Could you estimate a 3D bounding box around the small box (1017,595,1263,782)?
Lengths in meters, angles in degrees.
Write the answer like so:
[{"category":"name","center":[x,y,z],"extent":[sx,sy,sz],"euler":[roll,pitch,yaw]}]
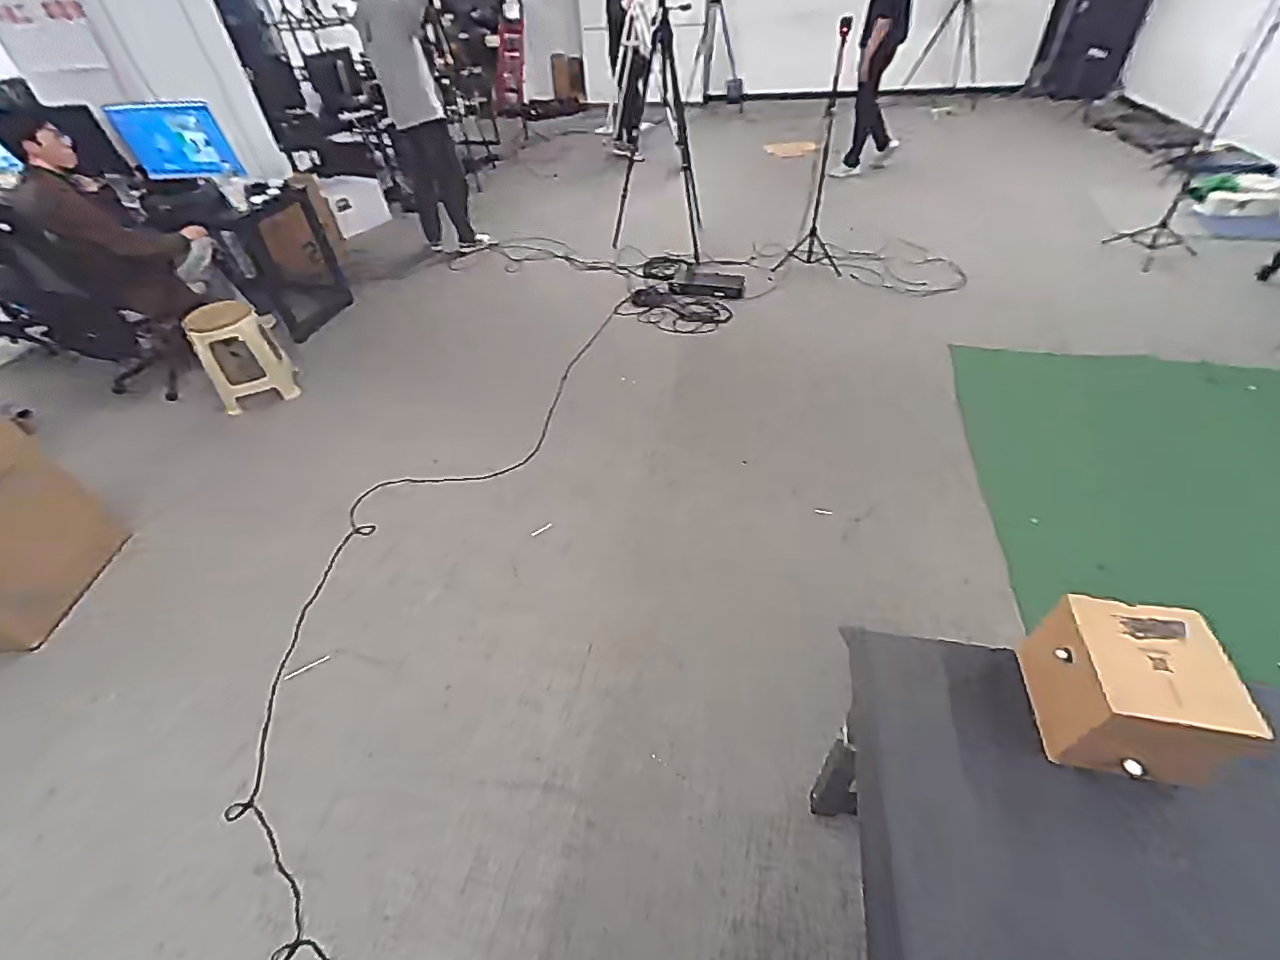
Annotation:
[{"category":"small box","center":[0.670,0.292,0.759],"extent":[0.168,0.176,0.179],"euler":[7,46,10]}]
